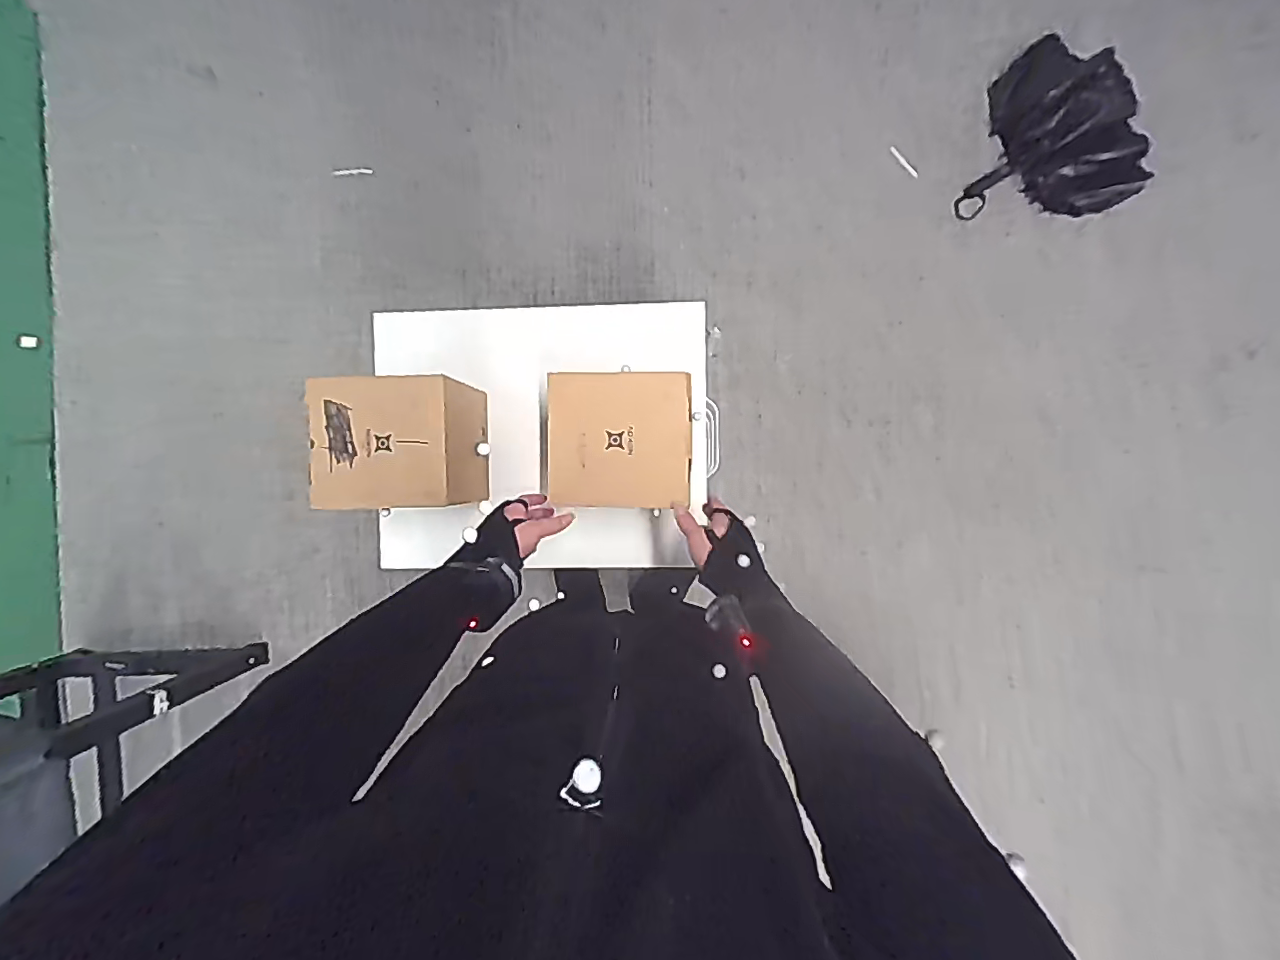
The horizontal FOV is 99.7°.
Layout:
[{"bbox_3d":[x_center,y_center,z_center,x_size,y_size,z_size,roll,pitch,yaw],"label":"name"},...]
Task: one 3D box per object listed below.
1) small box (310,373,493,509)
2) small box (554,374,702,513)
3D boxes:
[{"bbox_3d":[-0.310,-0.049,0.732,0.179,0.176,0.168,0,92,1],"label":"small box"},{"bbox_3d":[-0.010,-0.045,0.720,0.179,0.176,0.168,0,90,5],"label":"small box"}]
